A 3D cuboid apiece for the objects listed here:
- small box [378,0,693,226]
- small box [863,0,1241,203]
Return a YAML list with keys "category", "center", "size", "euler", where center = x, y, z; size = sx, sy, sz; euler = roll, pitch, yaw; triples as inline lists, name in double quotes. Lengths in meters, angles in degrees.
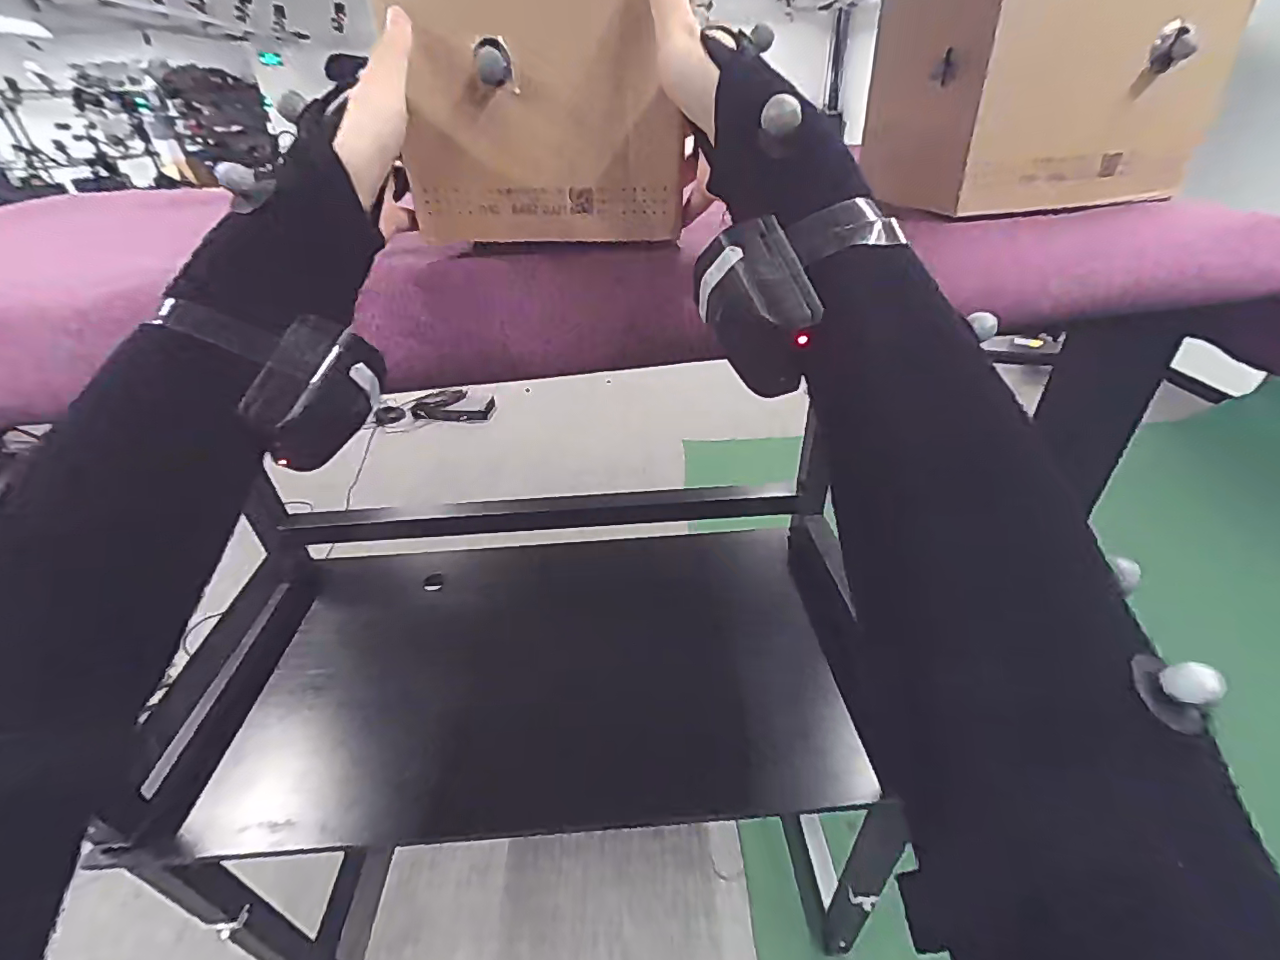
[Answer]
- category: "small box"
  center: [-0.054, -0.272, 0.355]
  size: [0.168, 0.176, 0.179]
  euler: [-1, 36, -1]
- category: "small box"
  center: [0.293, -0.311, 0.410]
  size: [0.168, 0.176, 0.179]
  euler: [-5, 32, -2]
